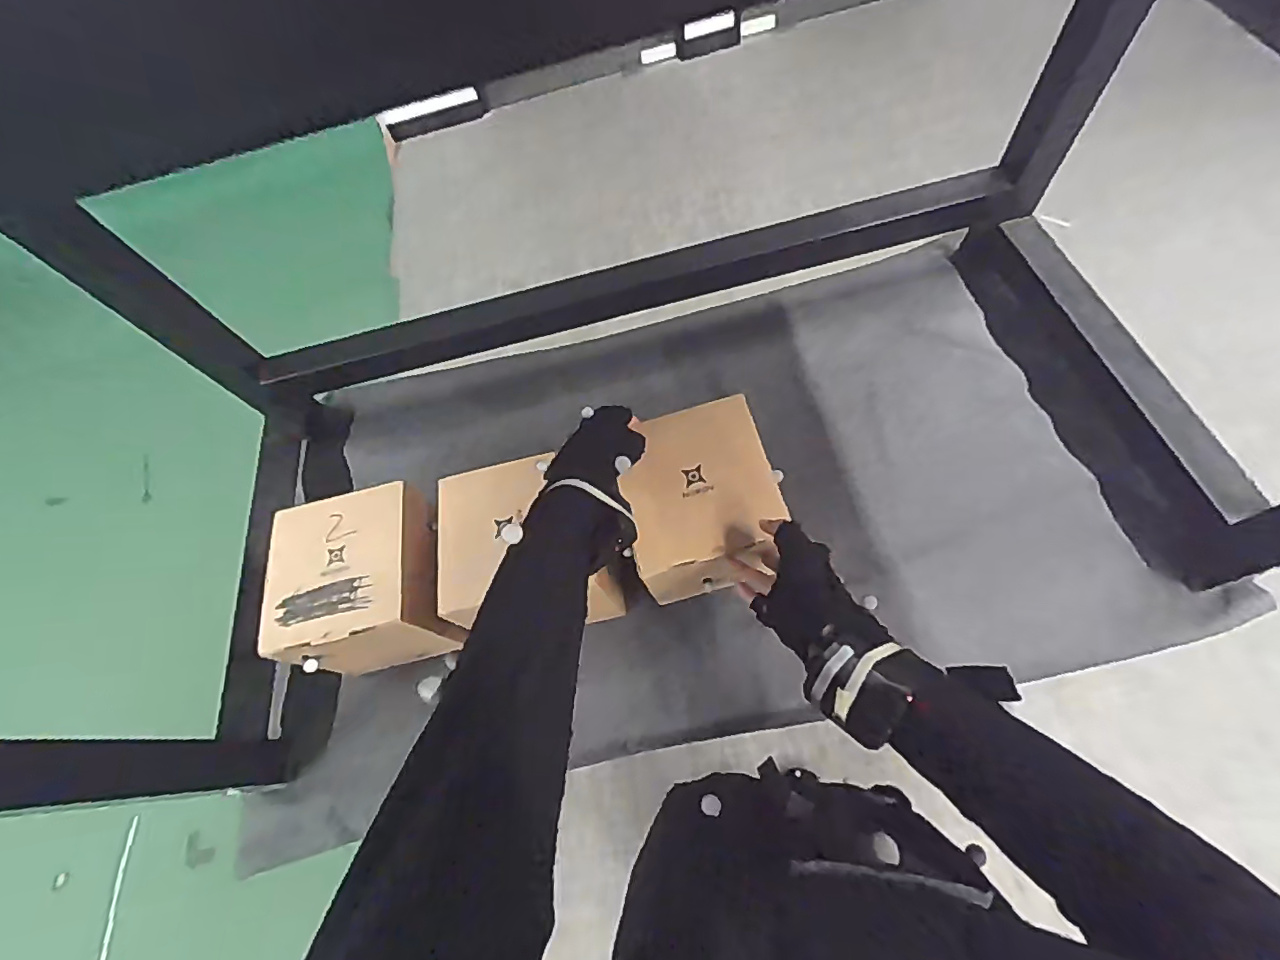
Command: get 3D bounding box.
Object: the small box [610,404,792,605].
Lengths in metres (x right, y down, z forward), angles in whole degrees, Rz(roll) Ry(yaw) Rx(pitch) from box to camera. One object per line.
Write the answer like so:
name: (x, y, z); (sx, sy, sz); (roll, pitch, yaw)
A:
small box: (0.071, 0.038, 0.669); (0.168, 0.176, 0.179); (-16, 66, 2)
